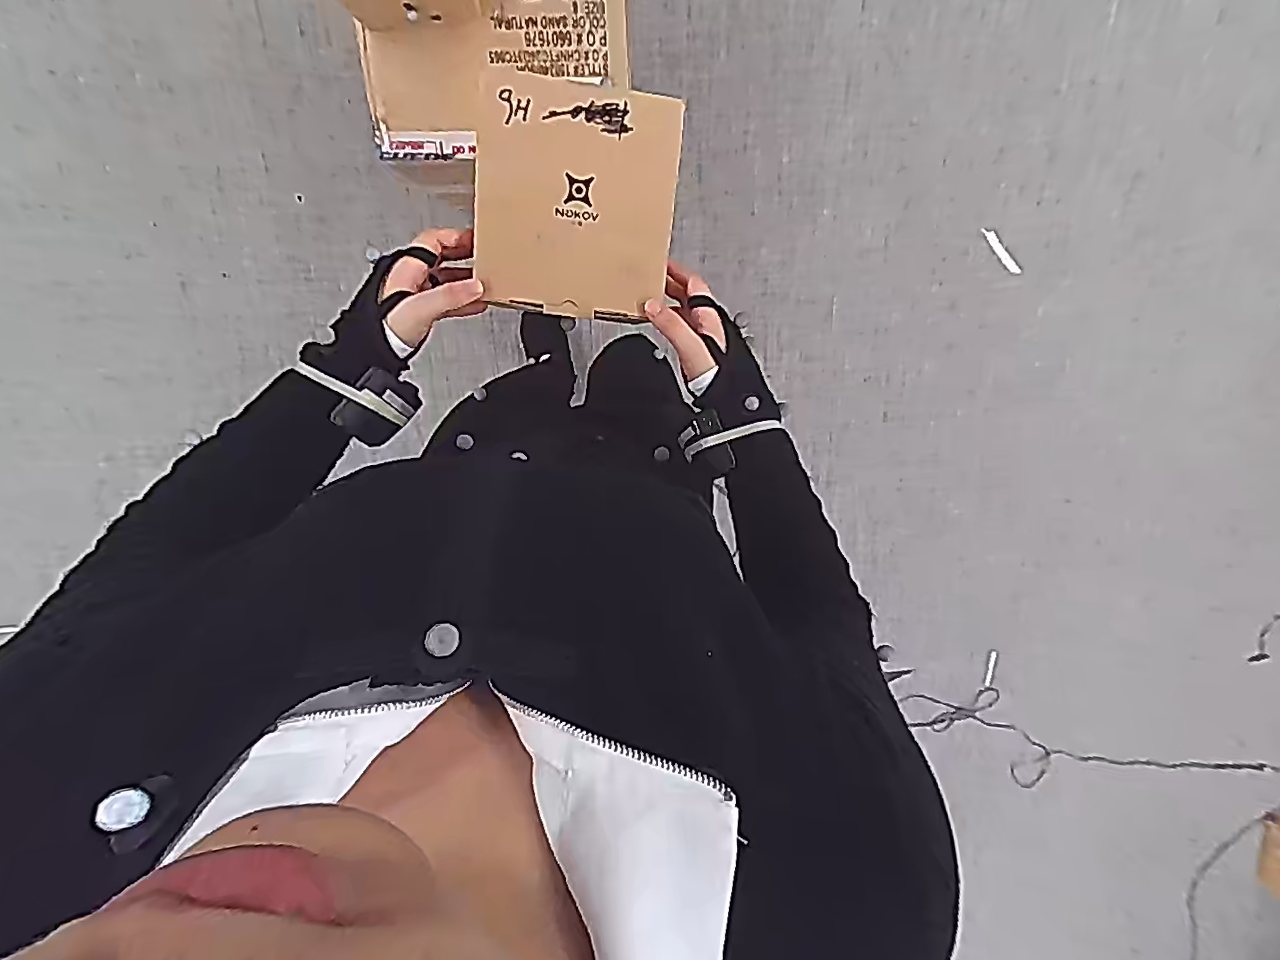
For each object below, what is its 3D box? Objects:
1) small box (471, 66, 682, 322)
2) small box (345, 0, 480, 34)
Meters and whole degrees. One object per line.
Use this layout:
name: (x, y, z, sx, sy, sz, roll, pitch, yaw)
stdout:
small box: (-0.063, -0.253, 0.527, 0.168, 0.176, 0.179, 4, 105, -8)
small box: (-0.307, -0.690, 0.660, 0.168, 0.176, 0.179, -6, 111, -1)
